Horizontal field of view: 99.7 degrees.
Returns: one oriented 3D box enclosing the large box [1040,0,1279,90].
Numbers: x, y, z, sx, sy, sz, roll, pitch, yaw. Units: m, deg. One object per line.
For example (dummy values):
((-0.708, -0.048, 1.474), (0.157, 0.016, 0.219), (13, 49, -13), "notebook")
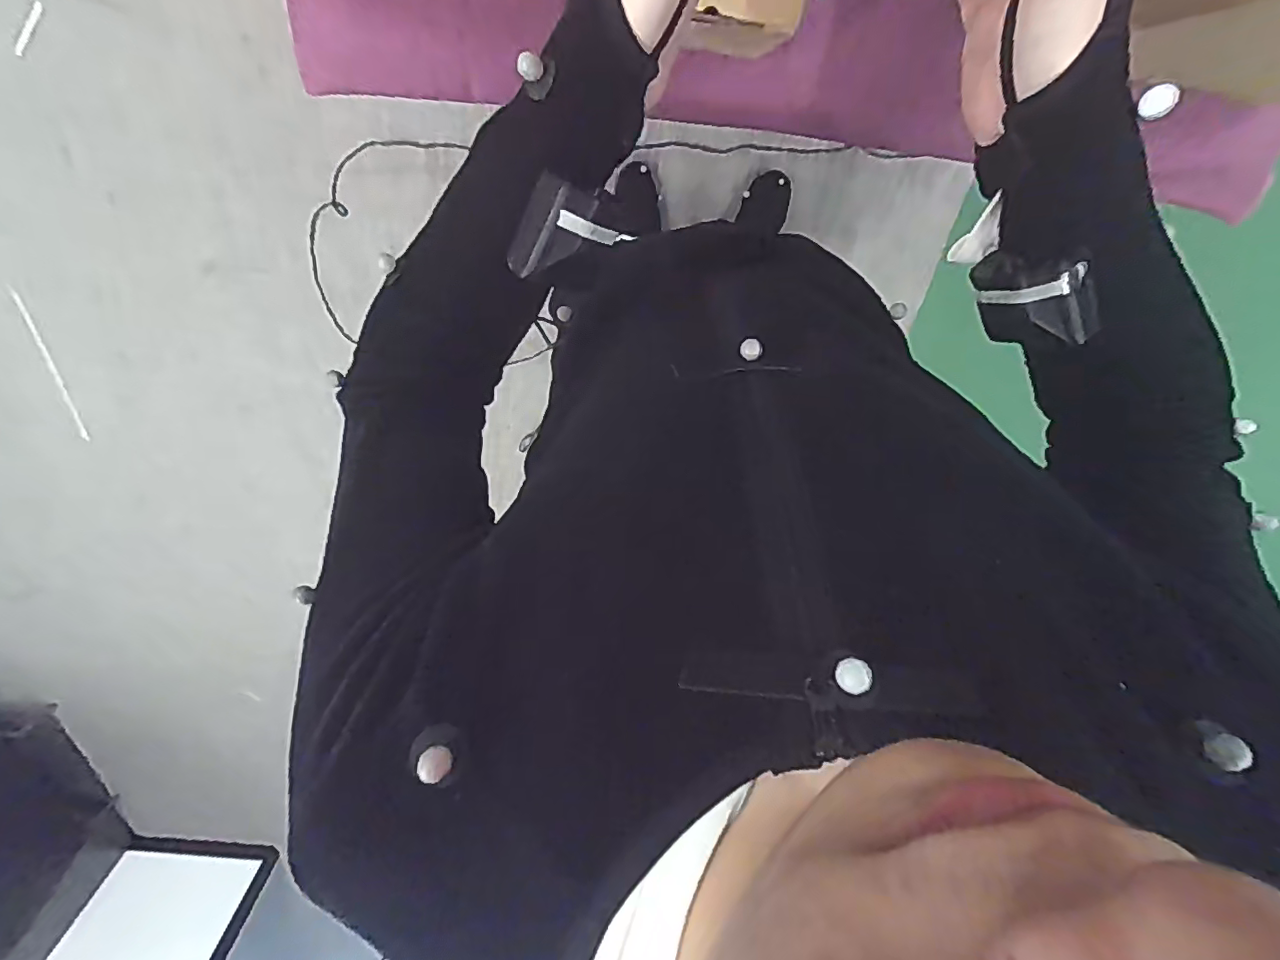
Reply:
((0.625, -0.566, 0.403), (0.320, 0.320, 0.408), (7, 122, -2), "large box")
